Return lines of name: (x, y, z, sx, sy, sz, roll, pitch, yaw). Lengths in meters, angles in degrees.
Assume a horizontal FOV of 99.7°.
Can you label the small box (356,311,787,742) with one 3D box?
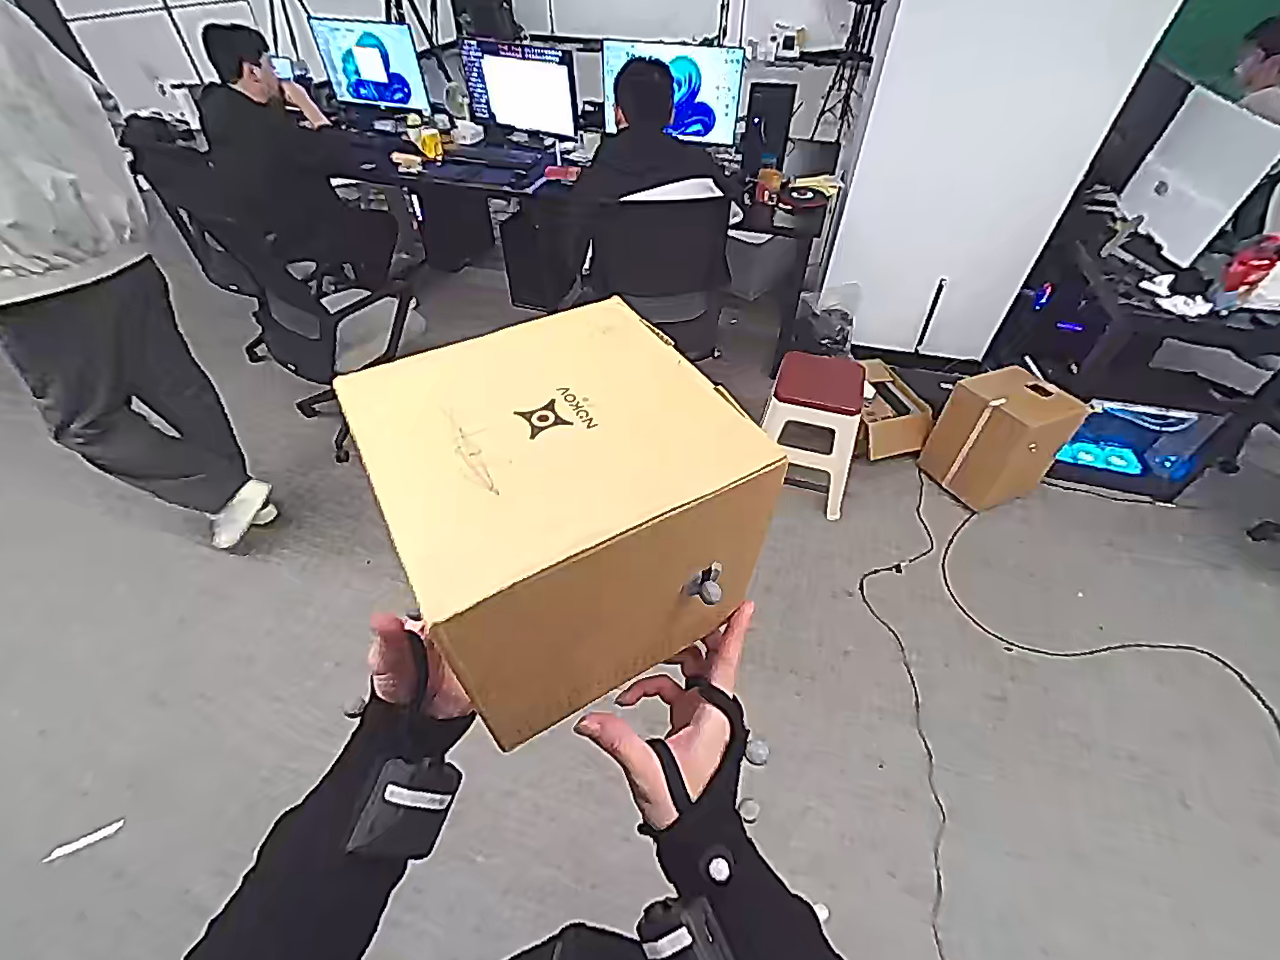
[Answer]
small box: (-0.042, 0.028, 0.341, 0.179, 0.176, 0.168, -25, 54, -20)
